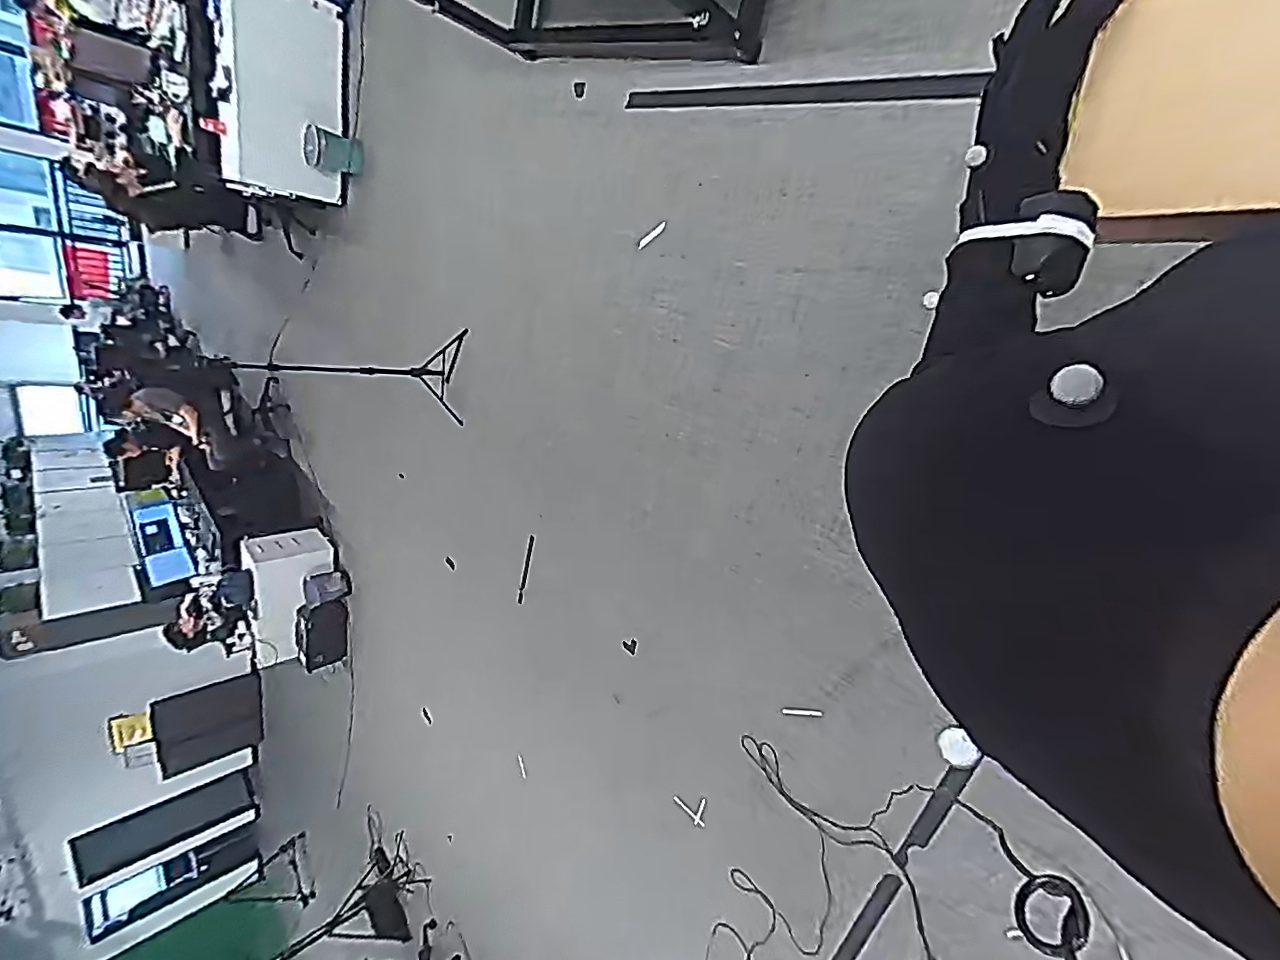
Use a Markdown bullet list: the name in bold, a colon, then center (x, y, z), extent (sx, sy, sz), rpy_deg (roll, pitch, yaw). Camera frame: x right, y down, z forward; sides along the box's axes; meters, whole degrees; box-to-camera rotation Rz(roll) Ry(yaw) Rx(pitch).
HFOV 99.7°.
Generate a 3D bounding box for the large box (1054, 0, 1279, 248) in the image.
- **large box**: center (0.592, -0.357, 0.398), extent (0.408, 0.320, 0.320), rpy_deg (16, 115, 36)
